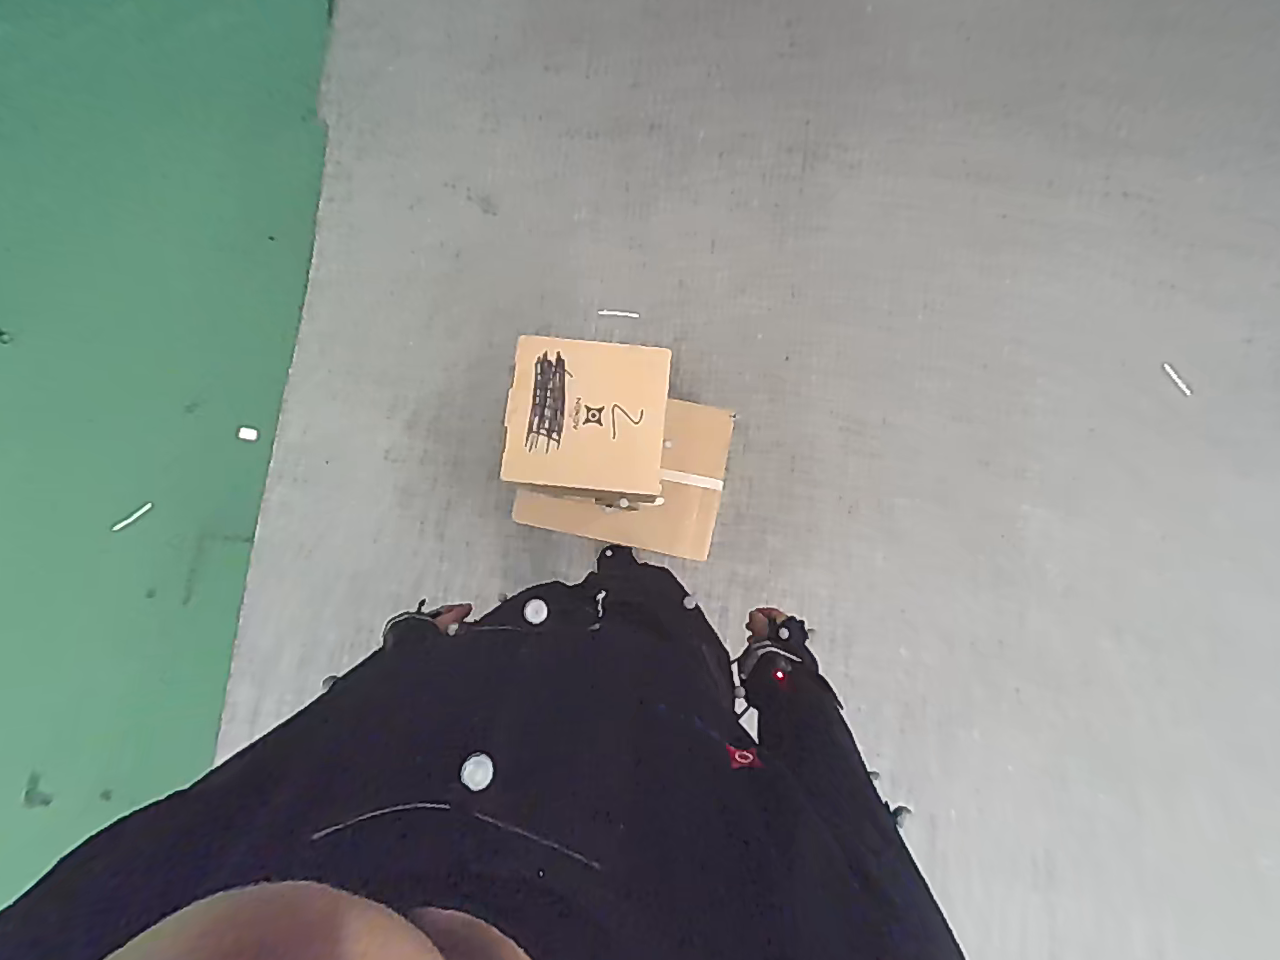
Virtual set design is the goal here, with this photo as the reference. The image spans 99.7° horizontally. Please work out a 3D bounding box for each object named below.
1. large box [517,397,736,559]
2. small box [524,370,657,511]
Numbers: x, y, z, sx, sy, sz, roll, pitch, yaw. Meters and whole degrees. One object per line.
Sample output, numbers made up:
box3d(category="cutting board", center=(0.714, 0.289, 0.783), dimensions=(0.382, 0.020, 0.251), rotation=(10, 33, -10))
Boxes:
box3d(category="large box", center=(-0.027, -0.011, 1.235), dimensions=(0.408, 0.320, 0.320), rotation=(11, 85, 2))
box3d(category="small box", center=(-0.068, -0.050, 0.835), dimensions=(0.168, 0.176, 0.179), rotation=(9, 83, 1))
